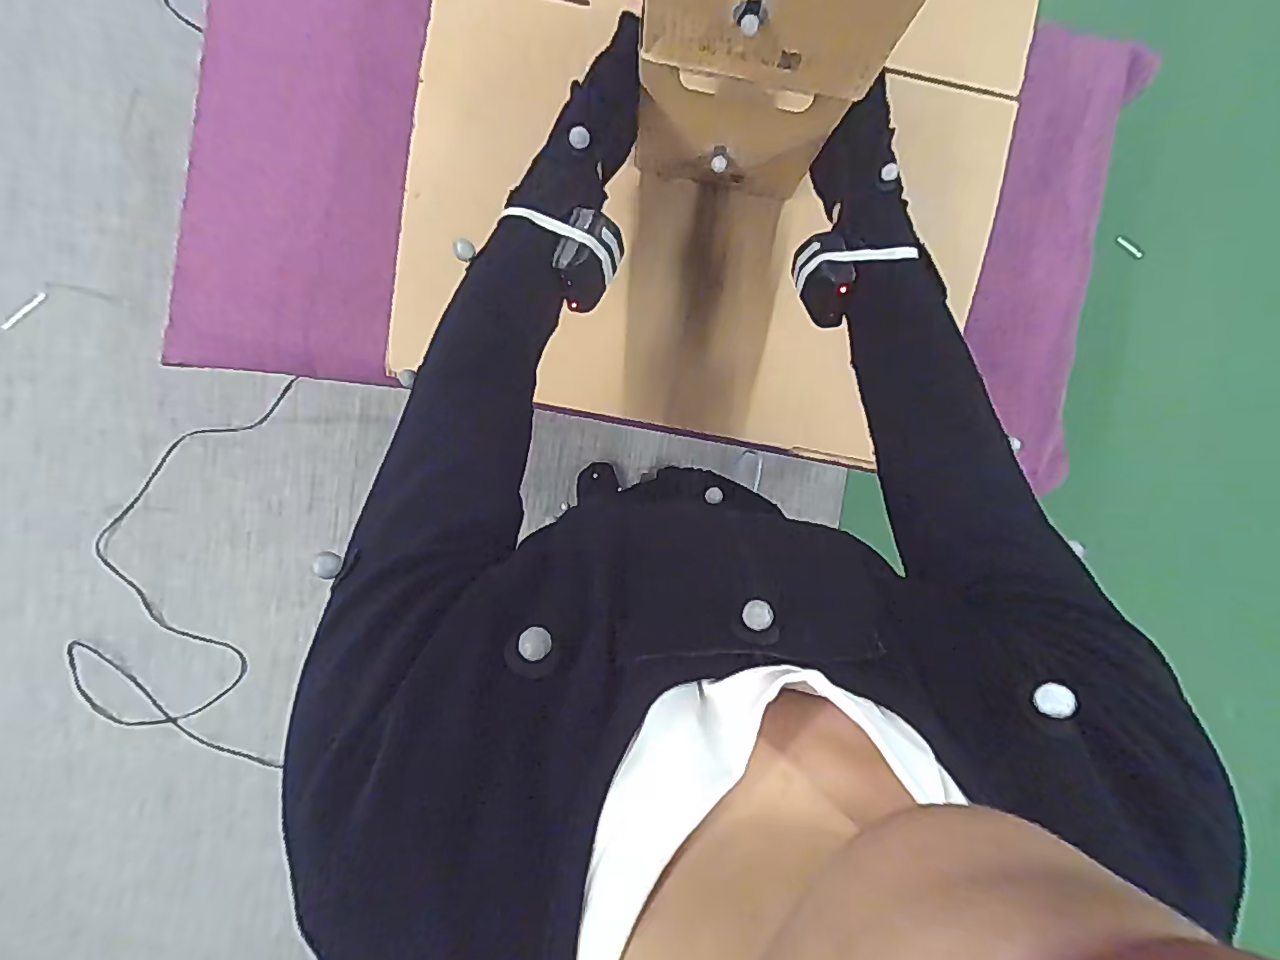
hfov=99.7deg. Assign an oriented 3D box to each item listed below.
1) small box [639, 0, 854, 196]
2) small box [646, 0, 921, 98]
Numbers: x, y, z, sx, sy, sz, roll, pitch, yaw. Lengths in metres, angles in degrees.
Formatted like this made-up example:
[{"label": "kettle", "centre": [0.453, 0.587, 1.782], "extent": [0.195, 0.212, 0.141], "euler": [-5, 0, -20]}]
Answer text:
[{"label": "small box", "centre": [0.093, -0.388, 0.472], "extent": [0.168, 0.176, 0.179], "euler": [11, 92, -2]}, {"label": "small box", "centre": [0.097, -0.374, 0.311], "extent": [0.168, 0.176, 0.179], "euler": [9, 93, -3]}]
